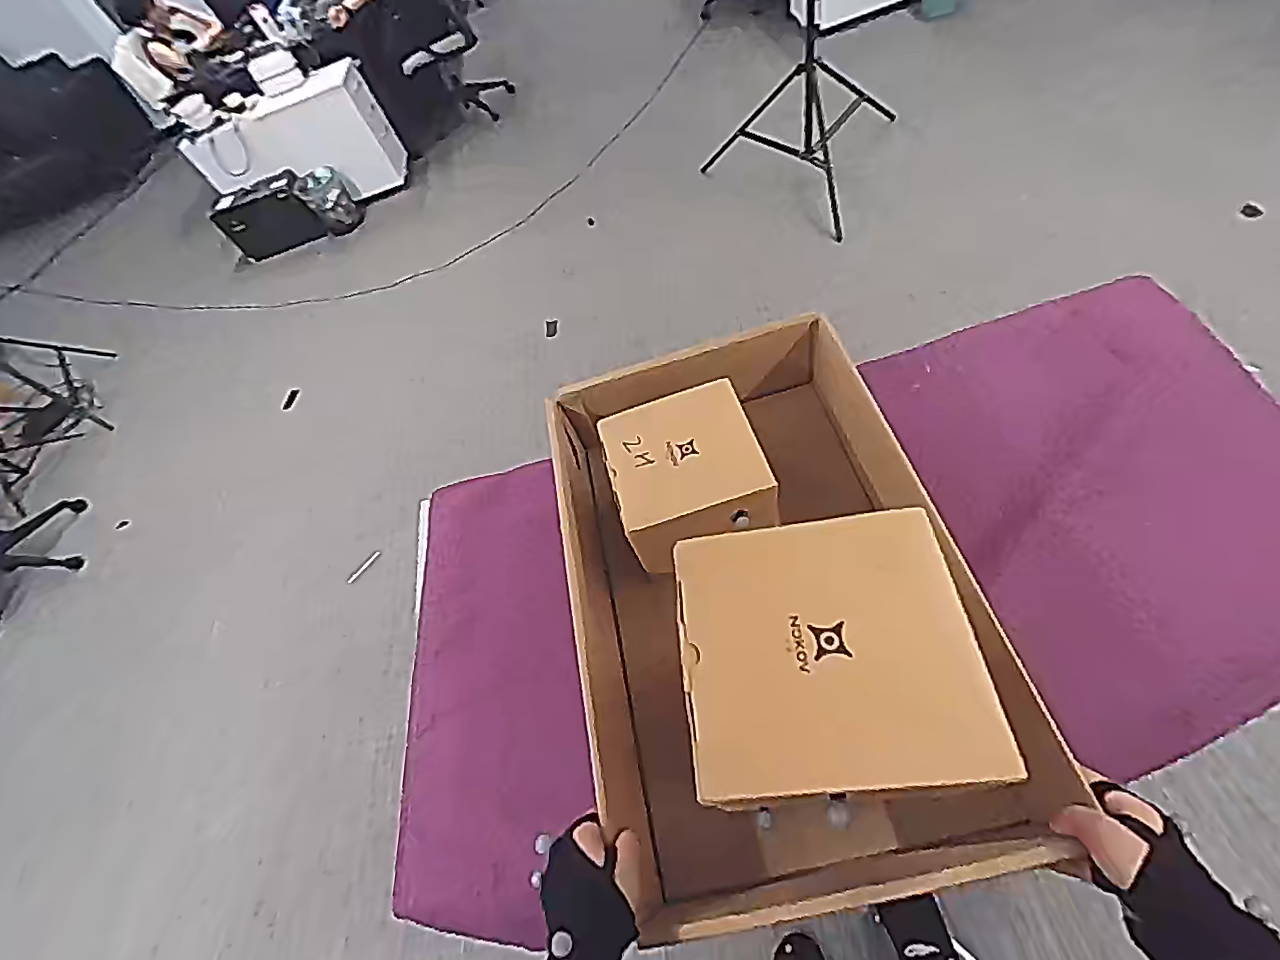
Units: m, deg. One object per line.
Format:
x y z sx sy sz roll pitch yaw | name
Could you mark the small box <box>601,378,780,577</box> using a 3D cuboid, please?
0.065 0.004 0.695 0.179 0.176 0.168 -18 57 2 | small box
